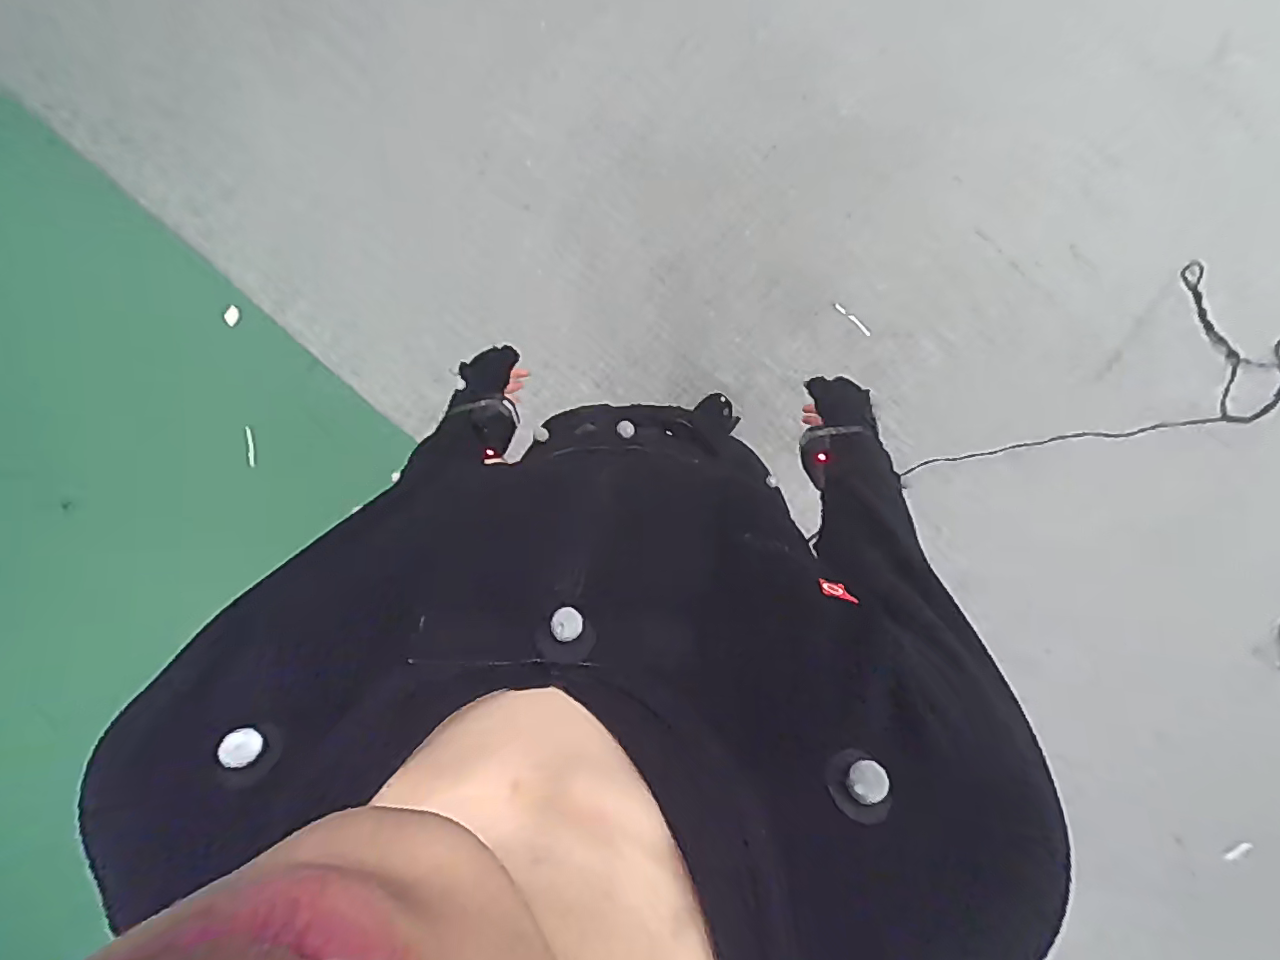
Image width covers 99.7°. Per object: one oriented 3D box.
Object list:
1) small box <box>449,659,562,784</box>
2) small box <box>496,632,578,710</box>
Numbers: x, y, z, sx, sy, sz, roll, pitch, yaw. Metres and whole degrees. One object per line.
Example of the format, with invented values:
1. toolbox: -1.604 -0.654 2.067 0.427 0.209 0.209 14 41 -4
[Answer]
1. small box: -0.313 0.572 1.302 0.168 0.176 0.179 45 99 -1
2. small box: -0.285 0.546 1.460 0.168 0.176 0.179 43 100 -1
